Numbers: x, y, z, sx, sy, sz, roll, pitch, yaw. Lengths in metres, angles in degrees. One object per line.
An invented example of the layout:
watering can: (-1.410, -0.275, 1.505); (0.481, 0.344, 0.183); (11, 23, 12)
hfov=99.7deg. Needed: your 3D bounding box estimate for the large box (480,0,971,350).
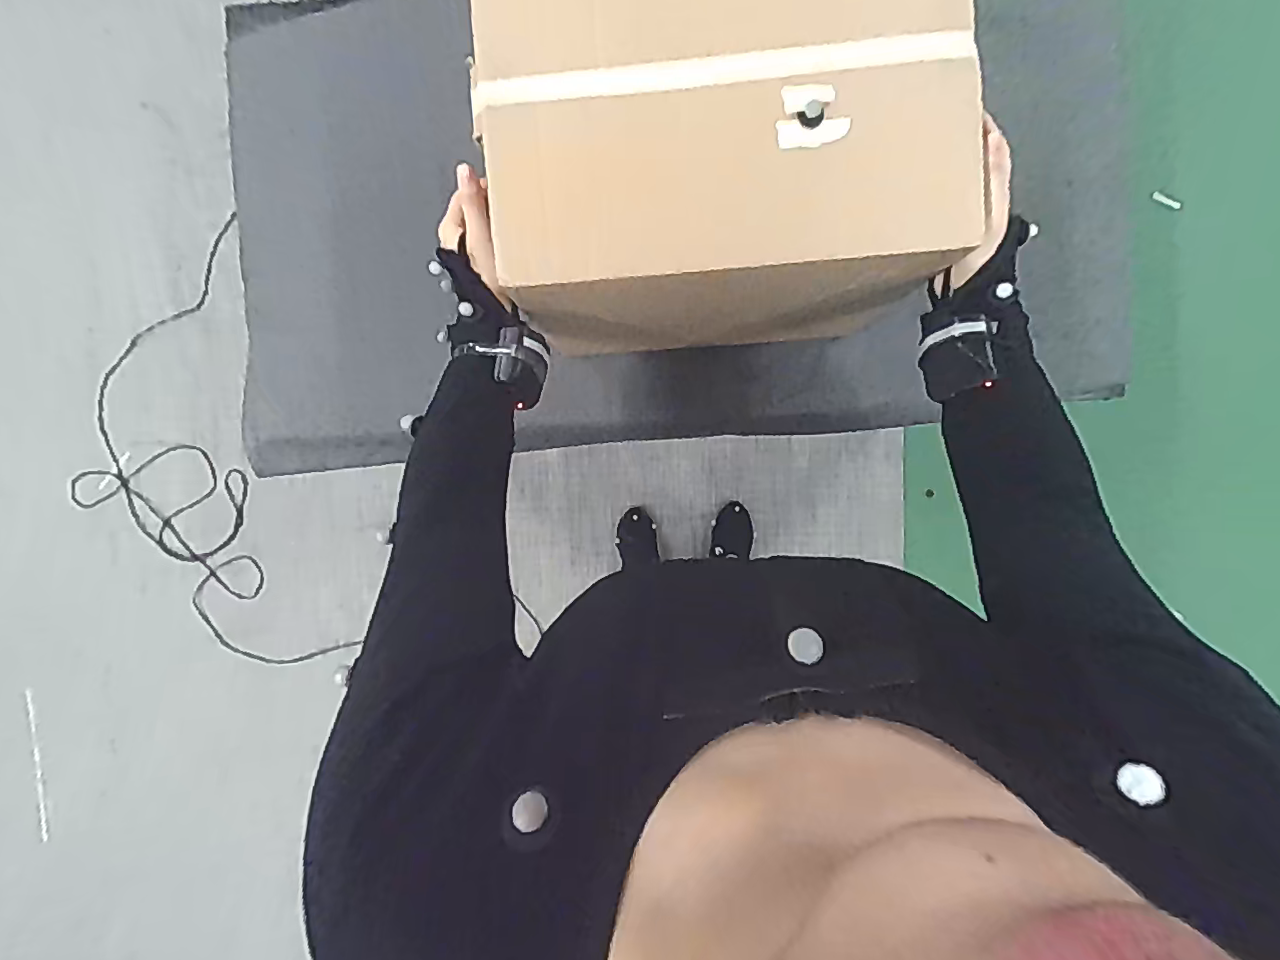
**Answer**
large box: (0.072, -0.346, 0.605); (0.408, 0.320, 0.320); (-5, 93, 2)
